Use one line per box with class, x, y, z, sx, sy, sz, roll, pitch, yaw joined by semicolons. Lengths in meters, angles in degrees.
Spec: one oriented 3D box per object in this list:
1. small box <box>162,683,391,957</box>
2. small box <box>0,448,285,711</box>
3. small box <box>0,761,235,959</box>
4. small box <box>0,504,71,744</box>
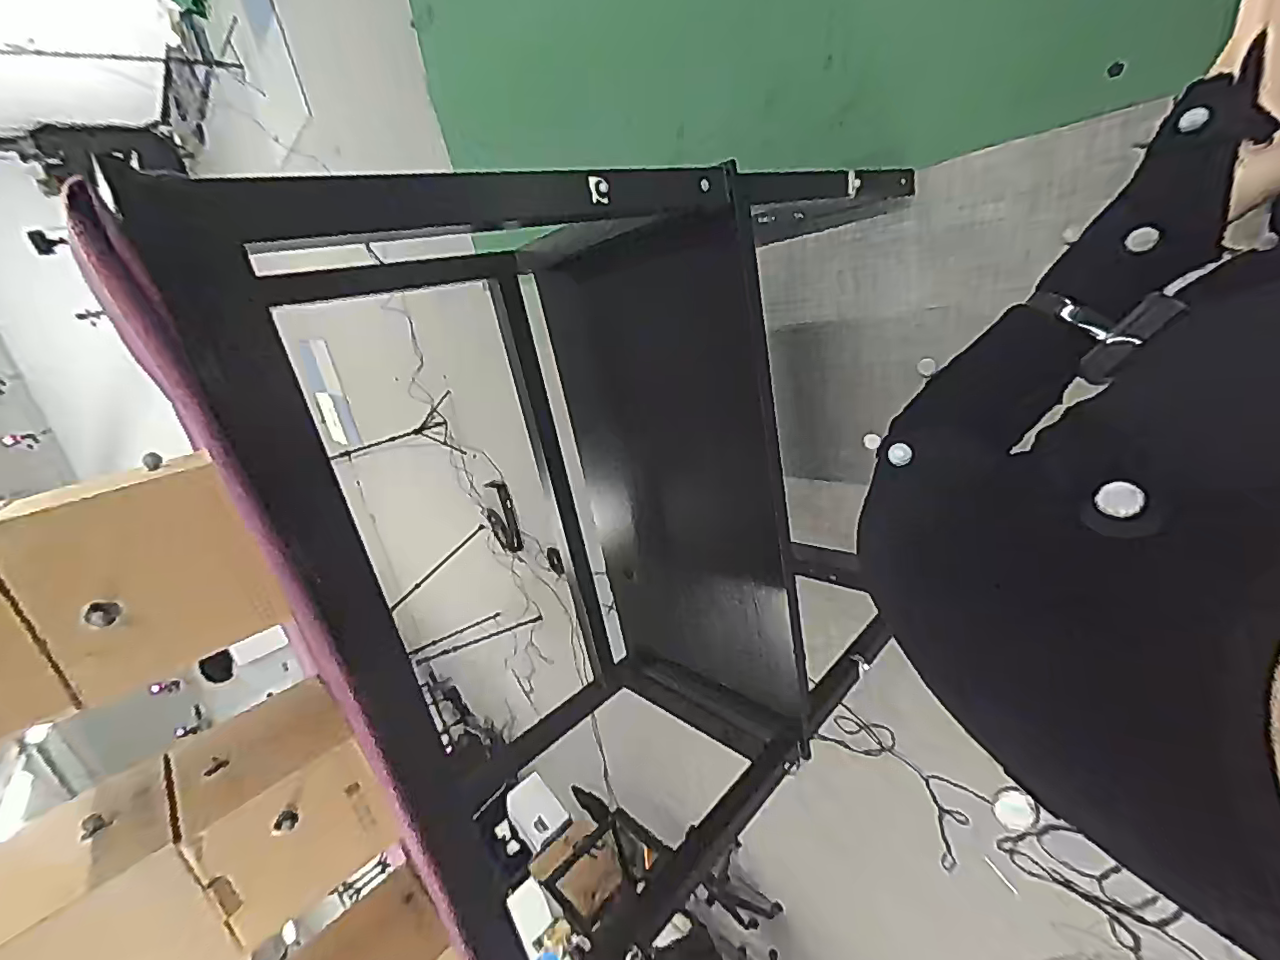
small box;-0.414;0.372;0.631;0.179;0.176;0.168;11;118;47
small box;-0.484;0.081;0.539;0.168;0.176;0.179;10;118;49
small box;-0.532;0.429;0.531;0.168;0.176;0.179;11;118;45
small box;-0.606;0.139;0.450;0.168;0.176;0.179;10;118;49
